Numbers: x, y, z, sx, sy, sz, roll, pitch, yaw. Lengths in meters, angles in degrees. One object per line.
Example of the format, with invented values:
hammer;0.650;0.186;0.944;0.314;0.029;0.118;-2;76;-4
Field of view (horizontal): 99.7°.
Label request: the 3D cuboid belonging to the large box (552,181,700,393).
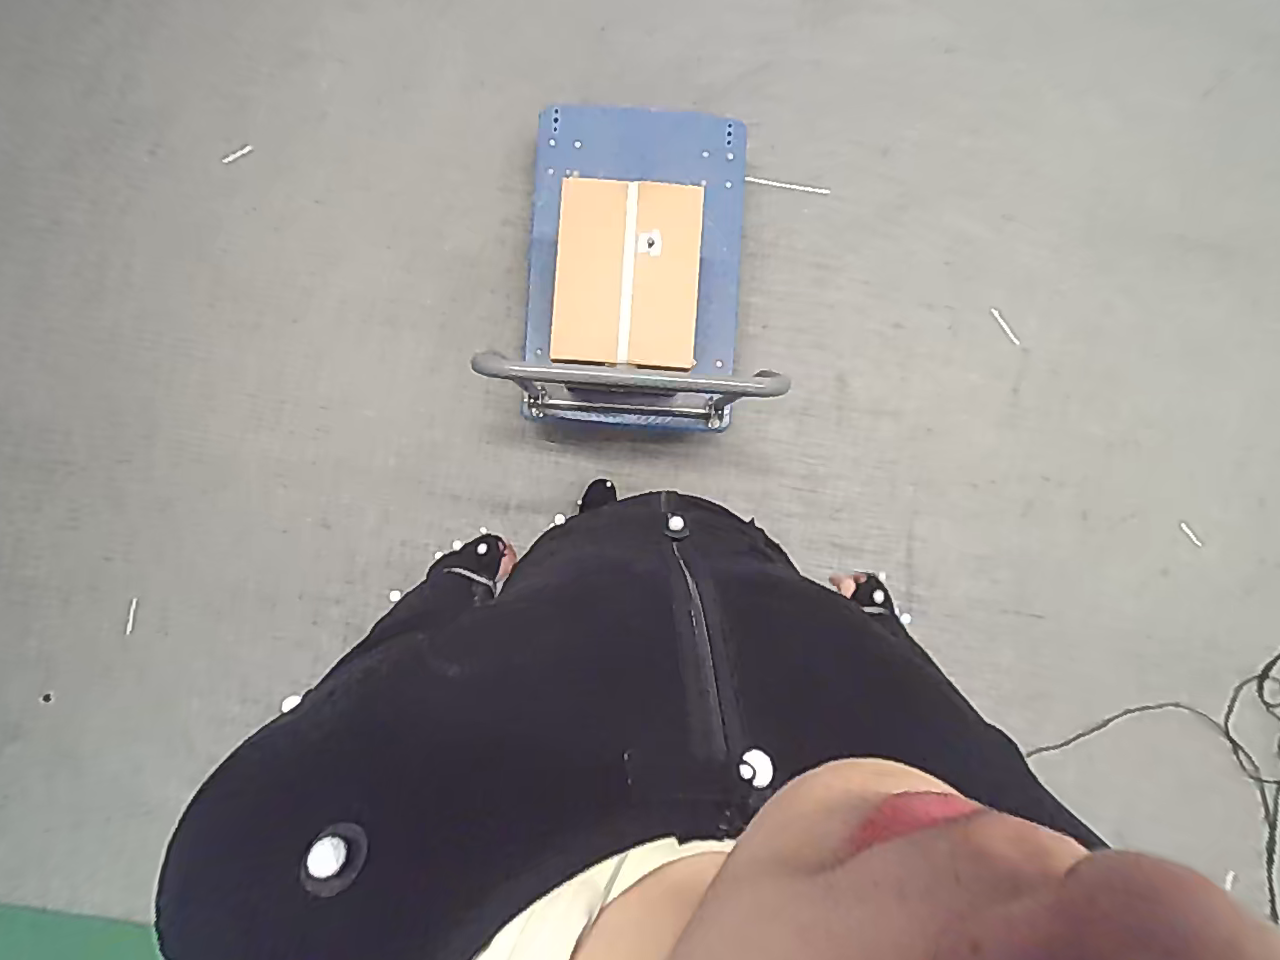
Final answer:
large box;-0.031;-0.443;1.327;0.320;0.320;0.408;3;87;-2
